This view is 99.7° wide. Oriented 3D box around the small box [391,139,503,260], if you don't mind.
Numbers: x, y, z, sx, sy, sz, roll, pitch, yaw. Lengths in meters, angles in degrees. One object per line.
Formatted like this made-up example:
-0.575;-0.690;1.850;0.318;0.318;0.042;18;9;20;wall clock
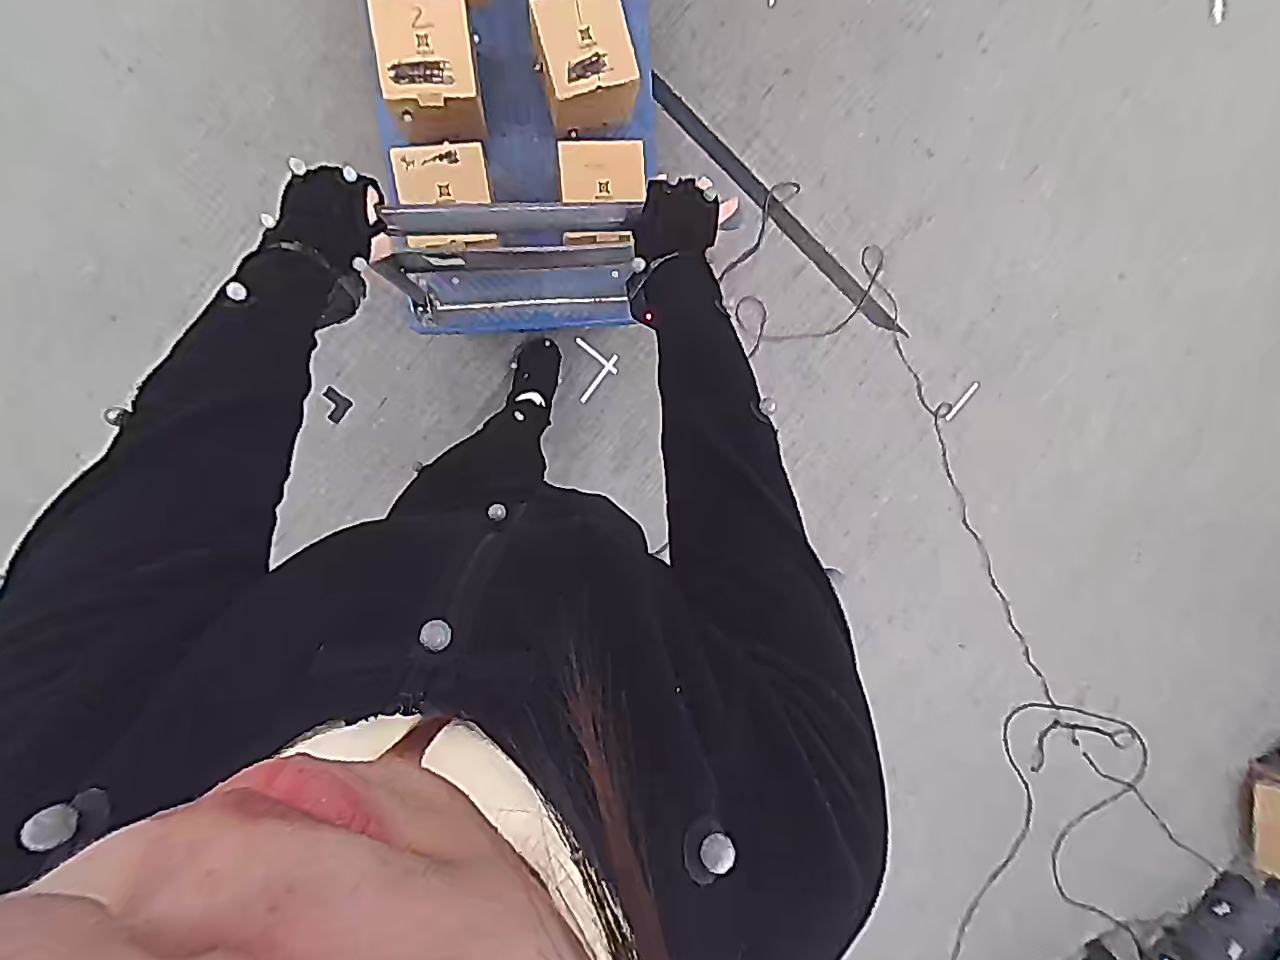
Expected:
-0.374;-0.548;1.080;0.168;0.176;0.179;-9;101;-8;small box

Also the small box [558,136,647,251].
-0.081;-0.584;1.123;0.168;0.176;0.179;-5;99;-9;small box

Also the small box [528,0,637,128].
-0.114;-0.836;1.076;0.168;0.176;0.179;-18;101;-6;small box

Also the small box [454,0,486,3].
-0.376;-1.040;0.997;0.168;0.176;0.179;-4;101;-8;small box
